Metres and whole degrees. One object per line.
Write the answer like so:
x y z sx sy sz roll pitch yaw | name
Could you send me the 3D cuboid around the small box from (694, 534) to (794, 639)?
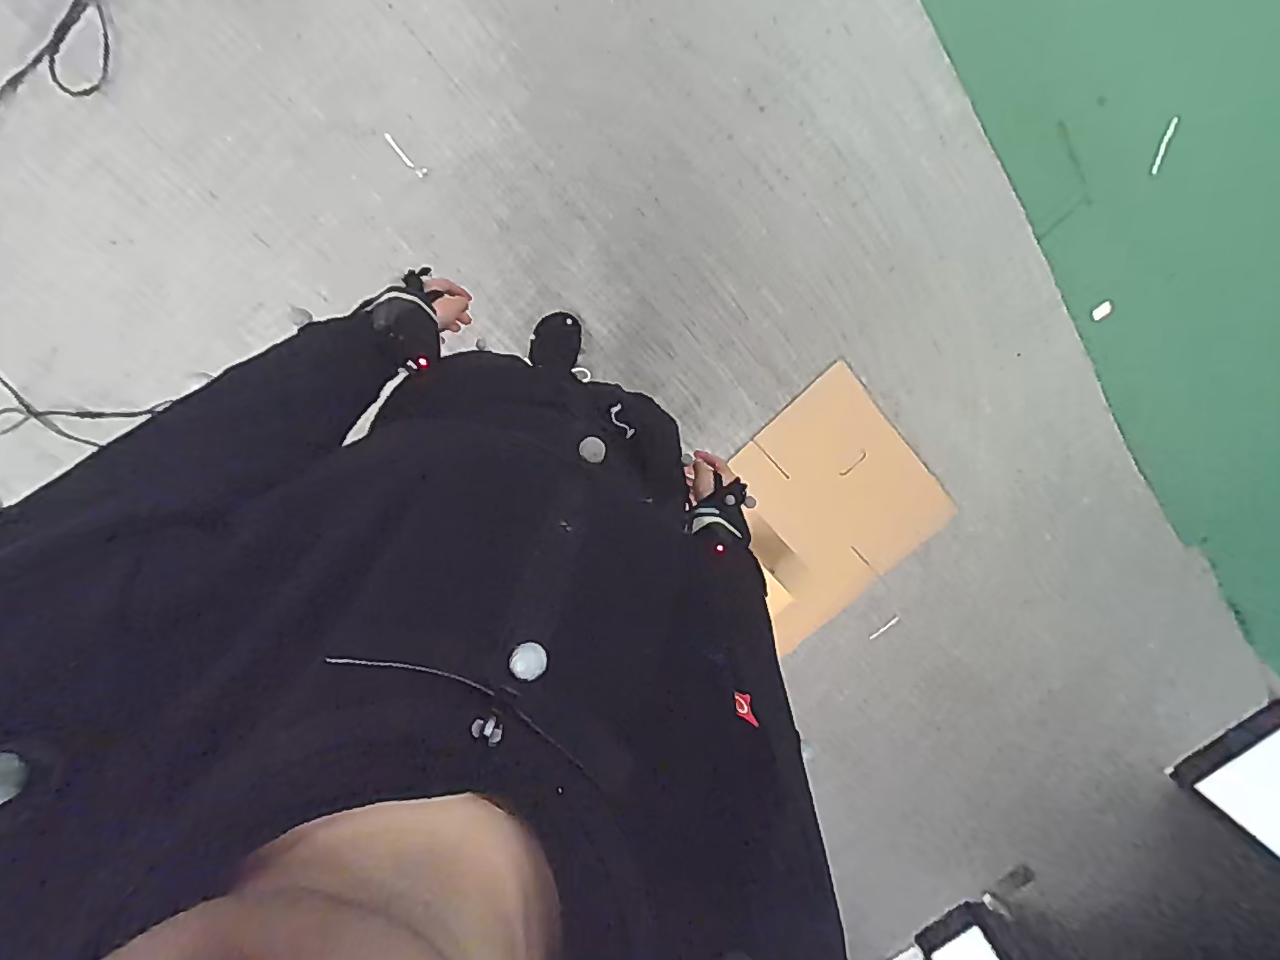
0.268 0.275 1.437 0.179 0.176 0.168 -42 110 10 | small box
